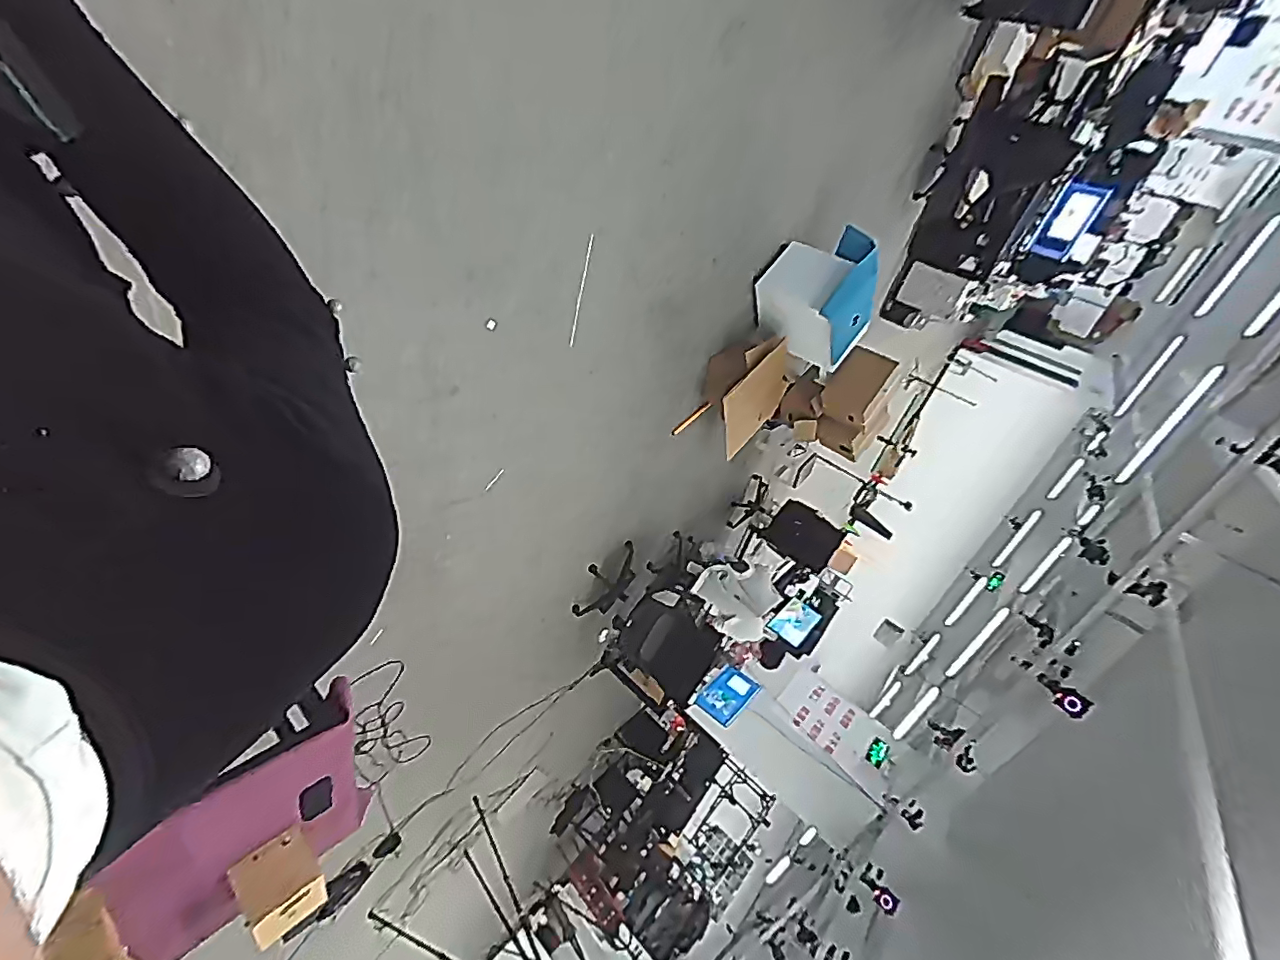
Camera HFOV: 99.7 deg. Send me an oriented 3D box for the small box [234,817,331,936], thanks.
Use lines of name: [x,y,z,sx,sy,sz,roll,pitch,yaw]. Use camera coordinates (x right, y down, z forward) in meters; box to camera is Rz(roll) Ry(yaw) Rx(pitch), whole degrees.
small box: [-0.960,1.056,1.454,0.168,0.176,0.179,-23,141,-45]

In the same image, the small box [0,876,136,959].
small box: [-1.119,0.929,1.053,0.168,0.176,0.179,-22,140,-47]
